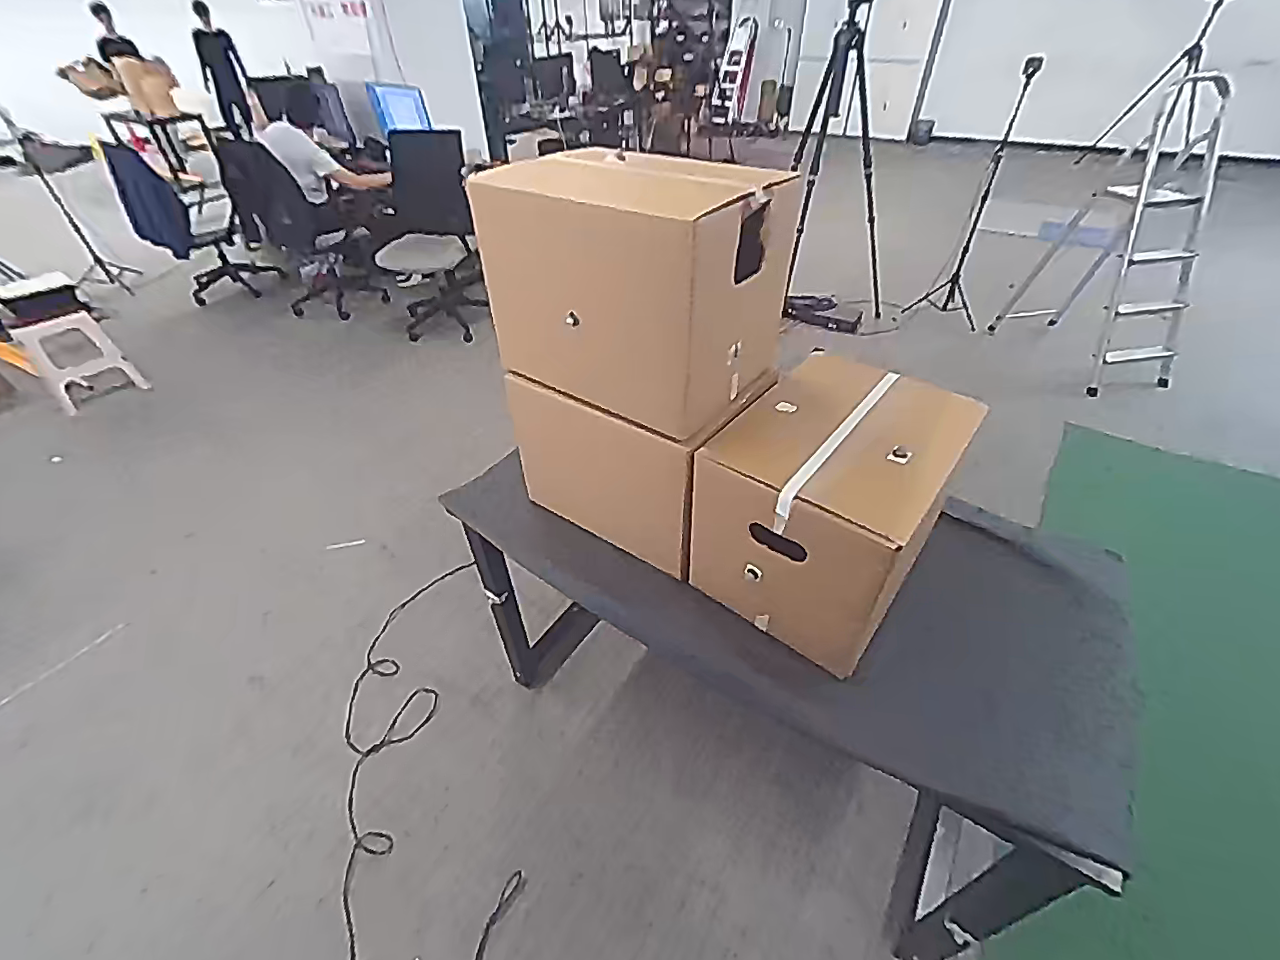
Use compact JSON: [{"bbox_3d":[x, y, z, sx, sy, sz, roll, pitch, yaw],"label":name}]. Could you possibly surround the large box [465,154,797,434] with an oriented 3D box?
[{"bbox_3d":[-0.006,-0.325,0.894,0.408,0.320,0.320,24,46,28],"label":"large box"}]
